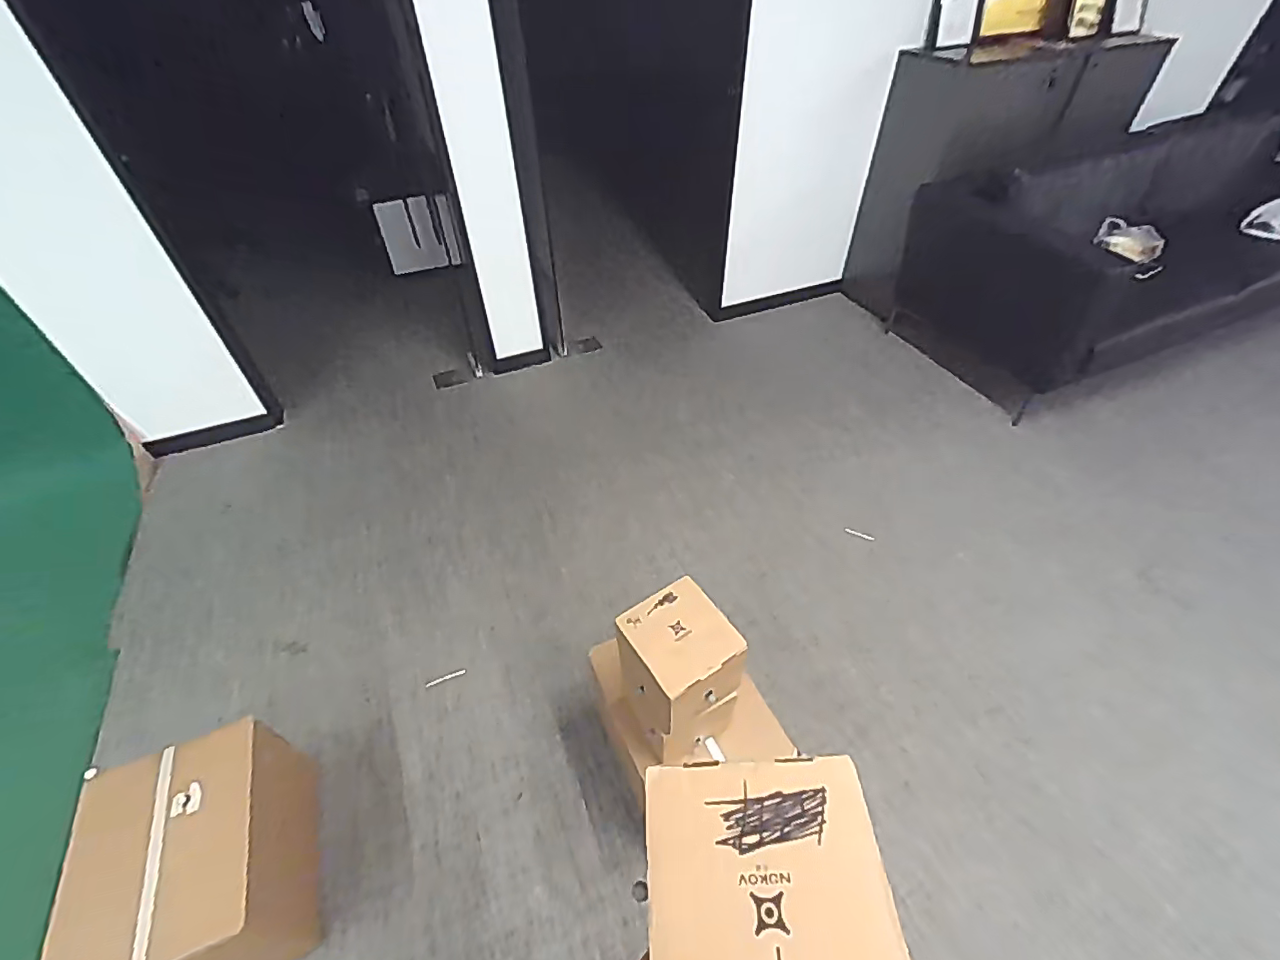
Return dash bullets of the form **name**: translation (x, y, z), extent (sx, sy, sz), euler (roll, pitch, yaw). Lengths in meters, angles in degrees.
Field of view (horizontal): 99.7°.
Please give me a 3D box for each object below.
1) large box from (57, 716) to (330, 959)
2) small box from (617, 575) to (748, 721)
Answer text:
- **large box**: translation (-0.880, 0.793, 1.123), extent (0.320, 0.320, 0.408), euler (-19, 47, -16)
- **small box**: translation (0.075, 0.314, 0.992), extent (0.168, 0.176, 0.179), euler (-27, 52, -20)
